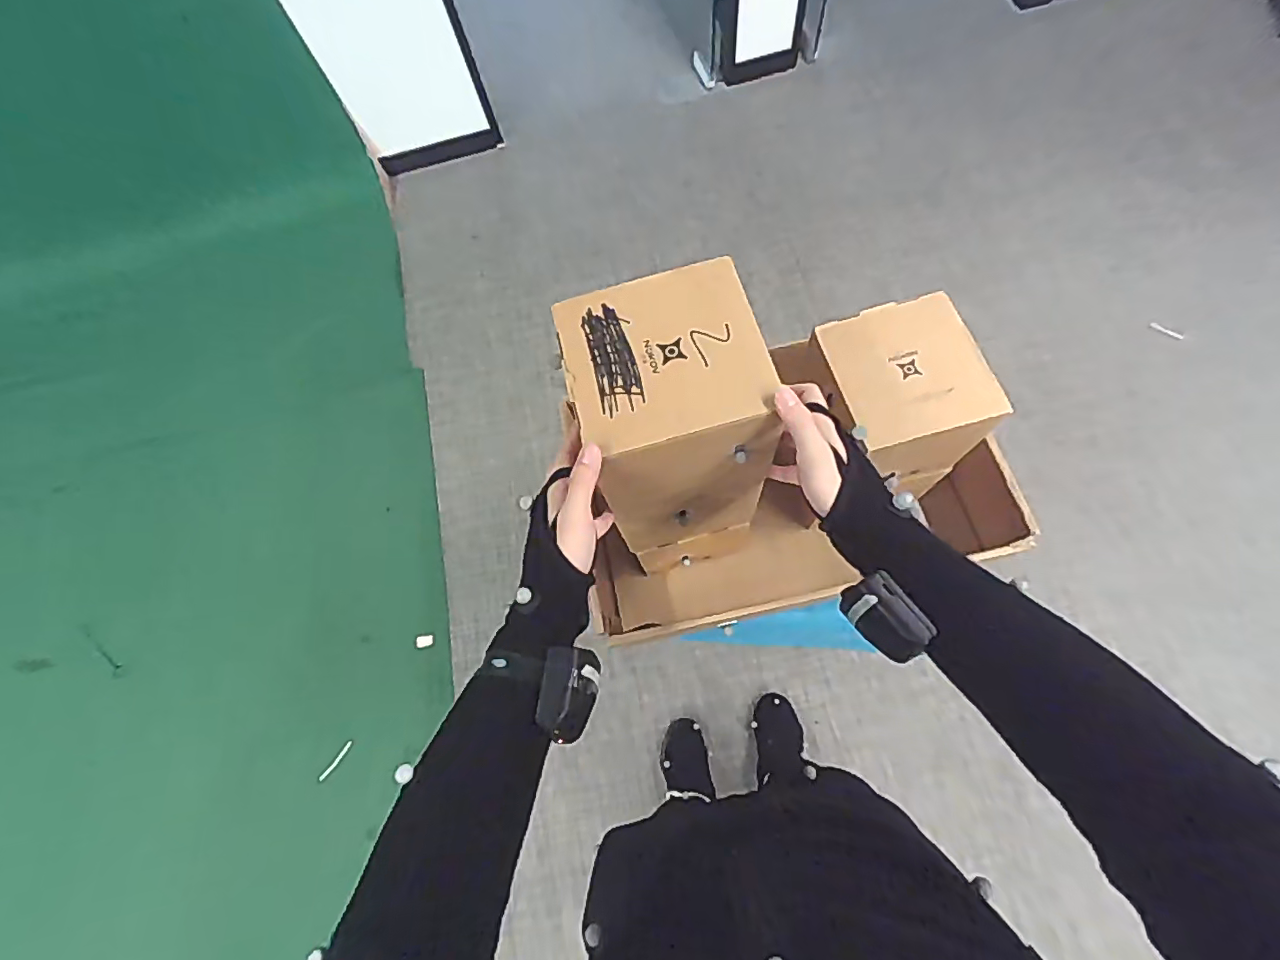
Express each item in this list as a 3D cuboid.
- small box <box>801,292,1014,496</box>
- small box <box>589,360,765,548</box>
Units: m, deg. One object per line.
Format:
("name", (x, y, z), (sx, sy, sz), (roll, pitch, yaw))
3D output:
("small box", (0.319, -0.101, 0.693), (0.168, 0.176, 0.179), (-15, 68, 2))
("small box", (0.048, -0.022, 0.696), (0.179, 0.176, 0.168), (-15, 69, 1))
